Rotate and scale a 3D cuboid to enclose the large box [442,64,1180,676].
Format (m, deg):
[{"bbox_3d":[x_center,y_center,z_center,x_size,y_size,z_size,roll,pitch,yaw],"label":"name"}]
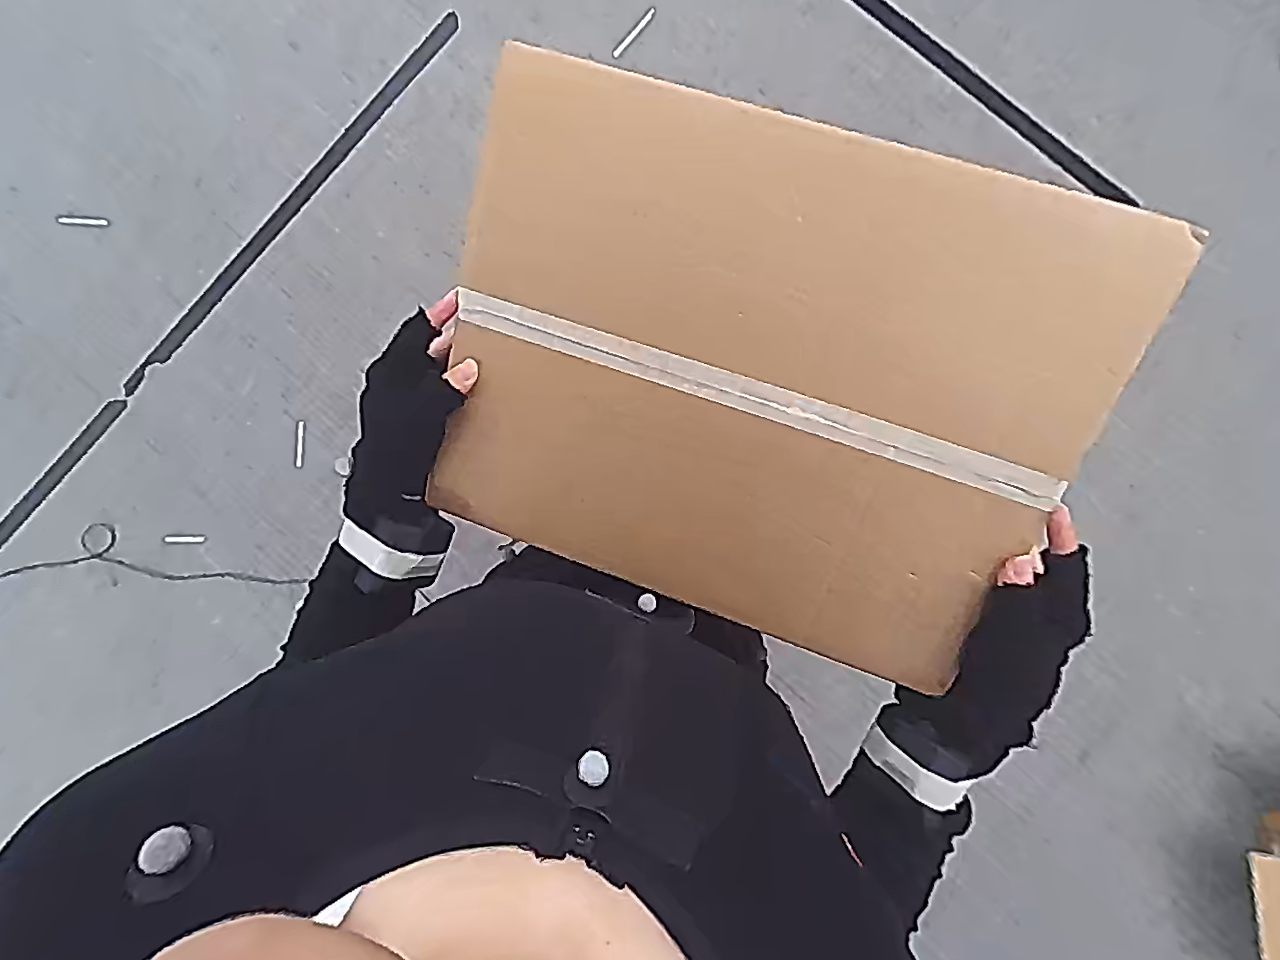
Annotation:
[{"bbox_3d":[0.097,-0.098,0.503,0.408,0.320,0.320,20,109,6],"label":"large box"}]
